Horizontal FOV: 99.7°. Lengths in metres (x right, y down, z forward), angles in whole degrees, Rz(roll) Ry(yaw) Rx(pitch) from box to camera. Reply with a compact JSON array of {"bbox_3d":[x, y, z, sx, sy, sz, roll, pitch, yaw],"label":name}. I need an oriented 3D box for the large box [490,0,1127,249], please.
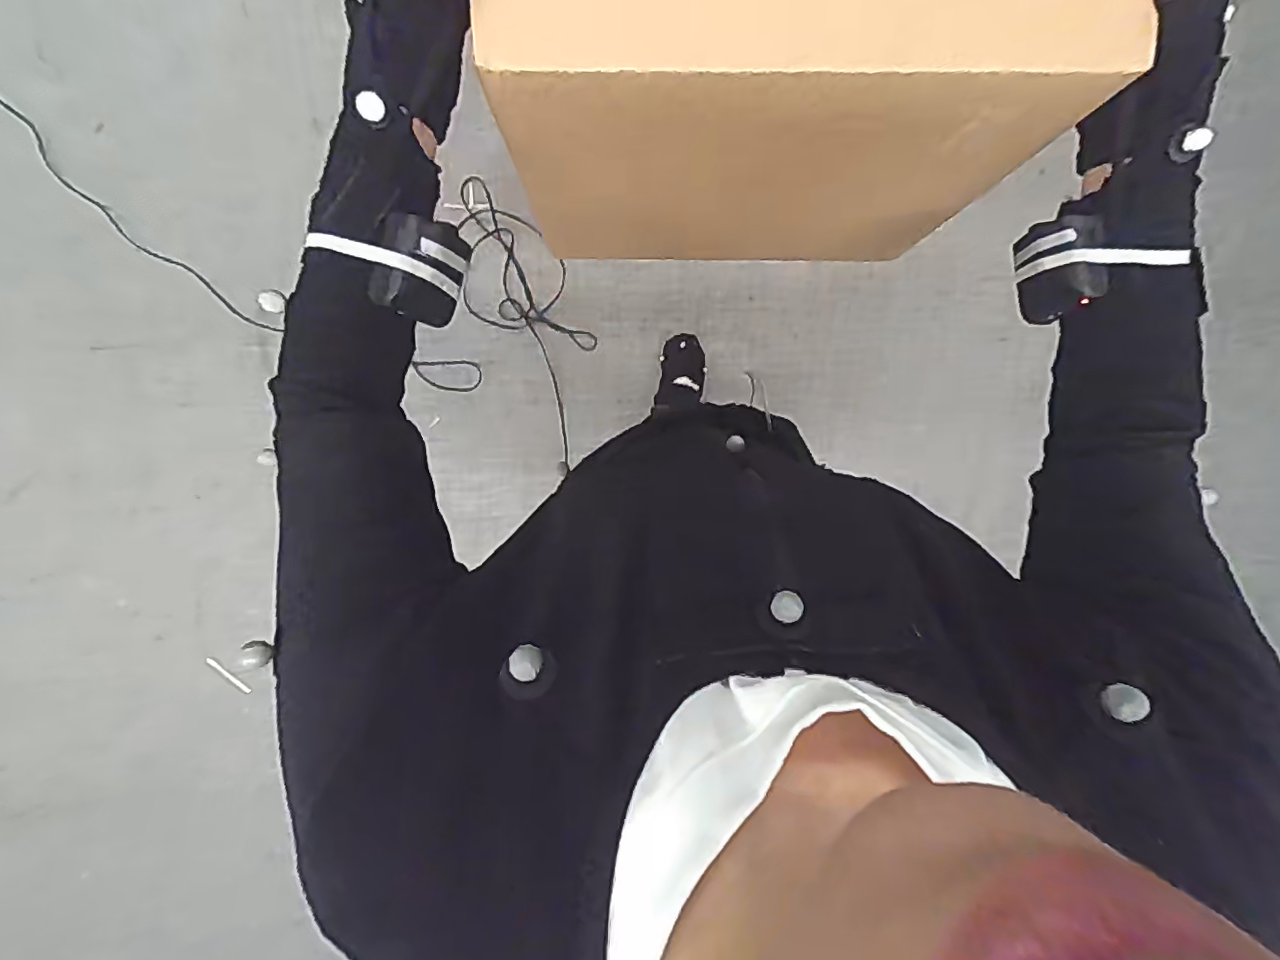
[{"bbox_3d":[0.097,-0.417,0.475,0.408,0.320,0.320,-1,93,-2],"label":"large box"}]
